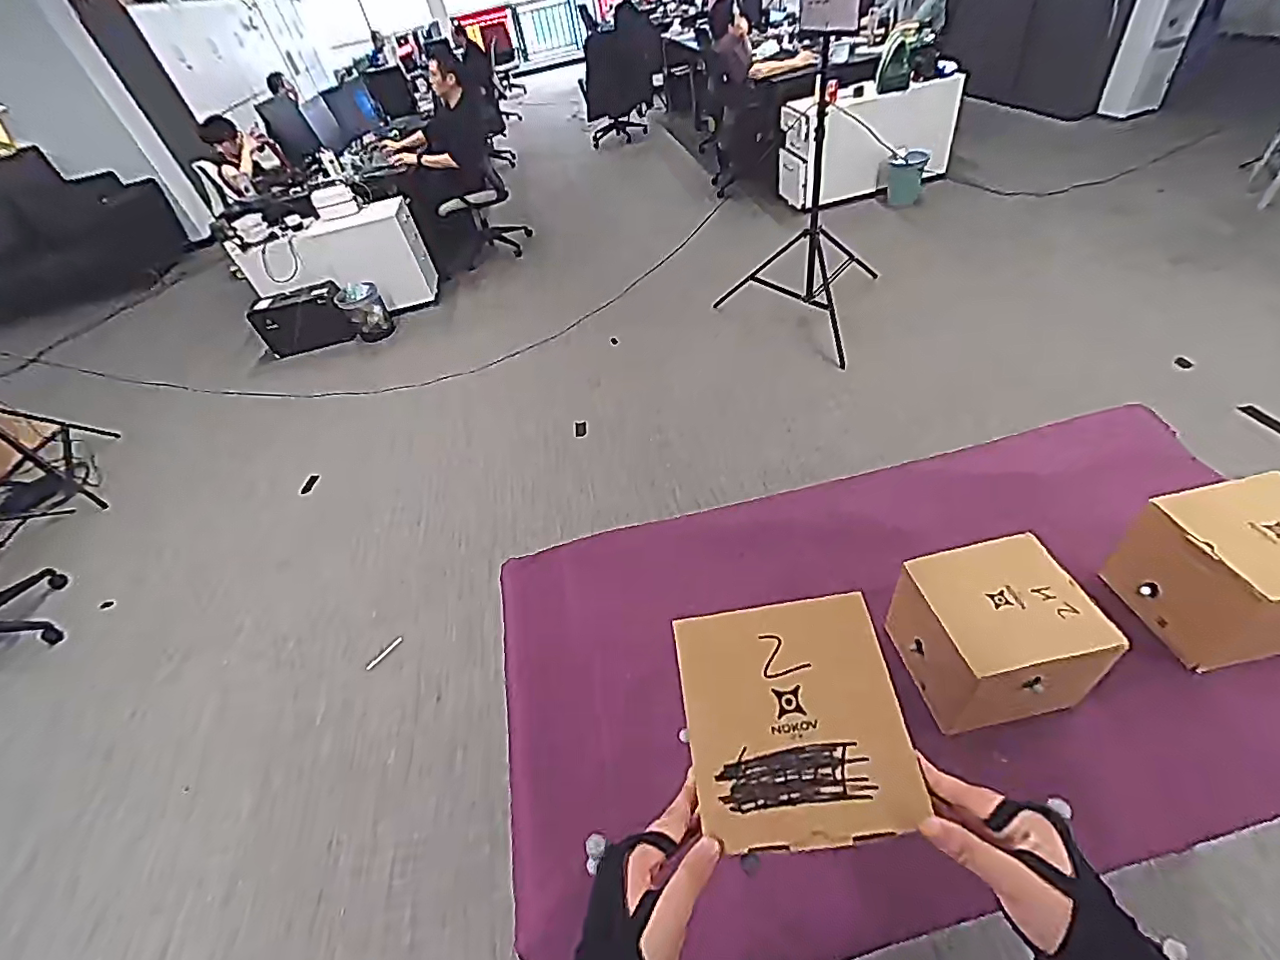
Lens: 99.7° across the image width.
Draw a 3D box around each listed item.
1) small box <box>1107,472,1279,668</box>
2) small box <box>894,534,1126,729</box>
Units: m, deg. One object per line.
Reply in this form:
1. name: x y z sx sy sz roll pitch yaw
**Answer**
1. small box: 0.777 0.119 0.703 0.179 0.176 0.168 -13 43 2
2. small box: 0.451 0.200 0.701 0.179 0.176 0.168 -12 44 0
